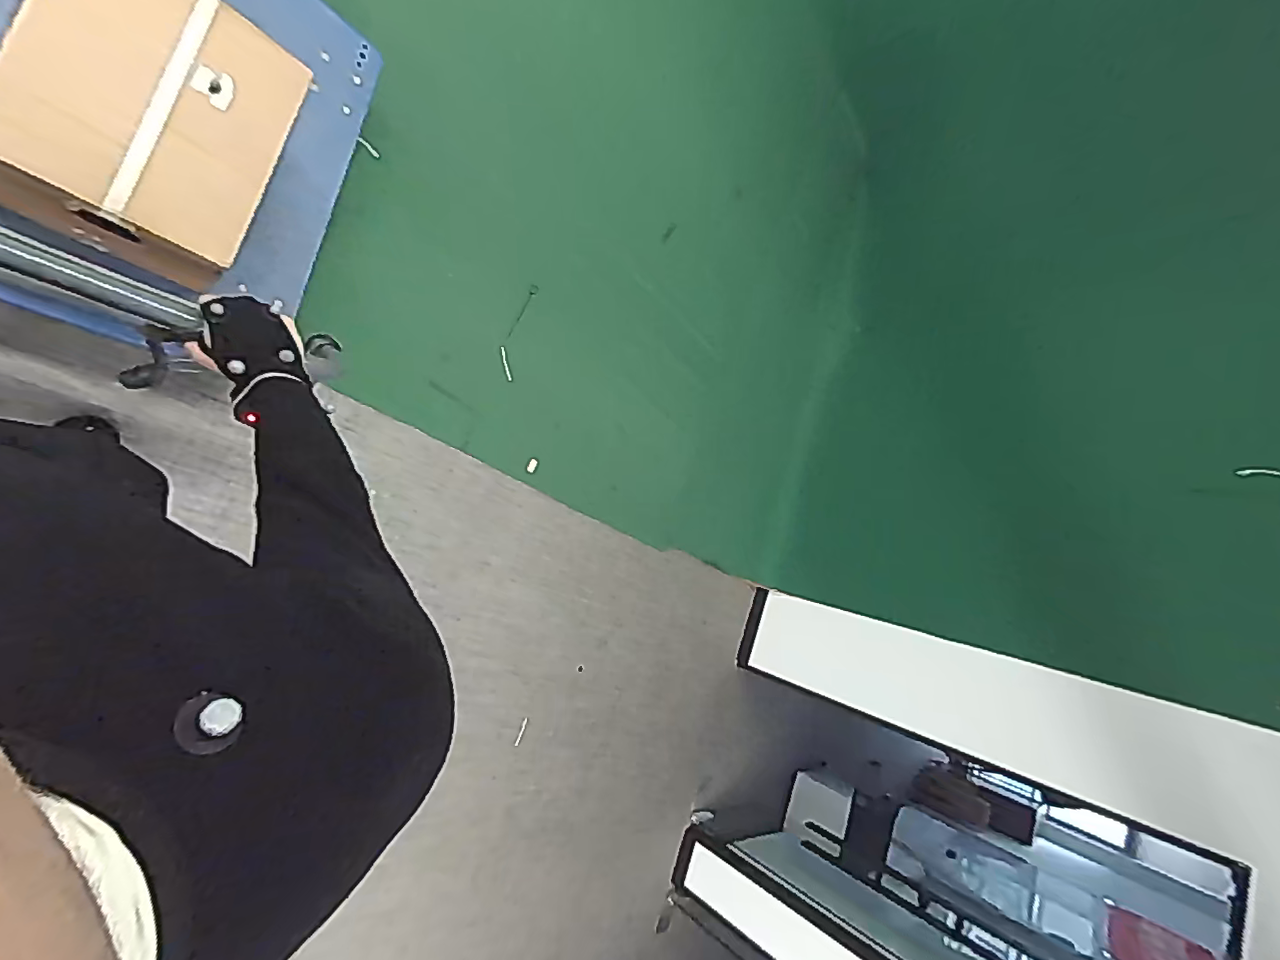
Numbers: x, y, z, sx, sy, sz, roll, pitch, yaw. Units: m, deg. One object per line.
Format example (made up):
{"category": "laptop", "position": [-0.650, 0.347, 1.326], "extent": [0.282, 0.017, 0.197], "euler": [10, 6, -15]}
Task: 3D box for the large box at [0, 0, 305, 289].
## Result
{"category": "large box", "position": [-0.862, -0.614, 0.952], "extent": [0.320, 0.320, 0.408], "euler": [24, 78, -45]}
